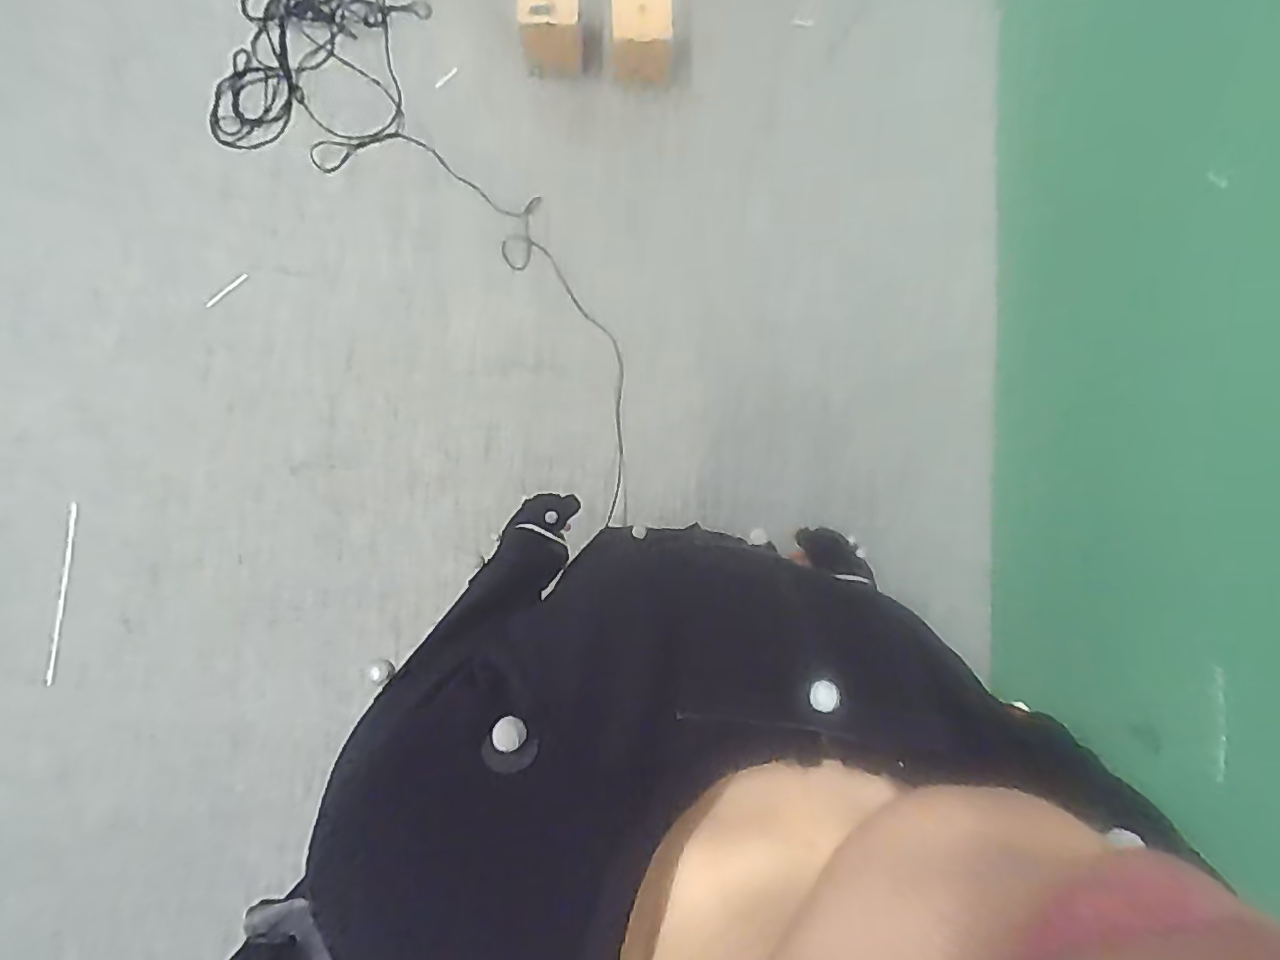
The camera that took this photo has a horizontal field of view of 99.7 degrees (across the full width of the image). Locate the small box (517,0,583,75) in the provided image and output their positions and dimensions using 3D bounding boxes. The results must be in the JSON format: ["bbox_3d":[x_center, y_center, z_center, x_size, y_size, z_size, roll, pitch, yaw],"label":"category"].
[{"bbox_3d":[-0.250,-1.295,1.535,0.168,0.176,0.179,1,84,-2],"label":"small box"}]

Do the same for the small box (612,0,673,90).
[{"bbox_3d":[0.004,-1.262,1.542,0.168,0.176,0.179,-2,86,-2],"label":"small box"}]
